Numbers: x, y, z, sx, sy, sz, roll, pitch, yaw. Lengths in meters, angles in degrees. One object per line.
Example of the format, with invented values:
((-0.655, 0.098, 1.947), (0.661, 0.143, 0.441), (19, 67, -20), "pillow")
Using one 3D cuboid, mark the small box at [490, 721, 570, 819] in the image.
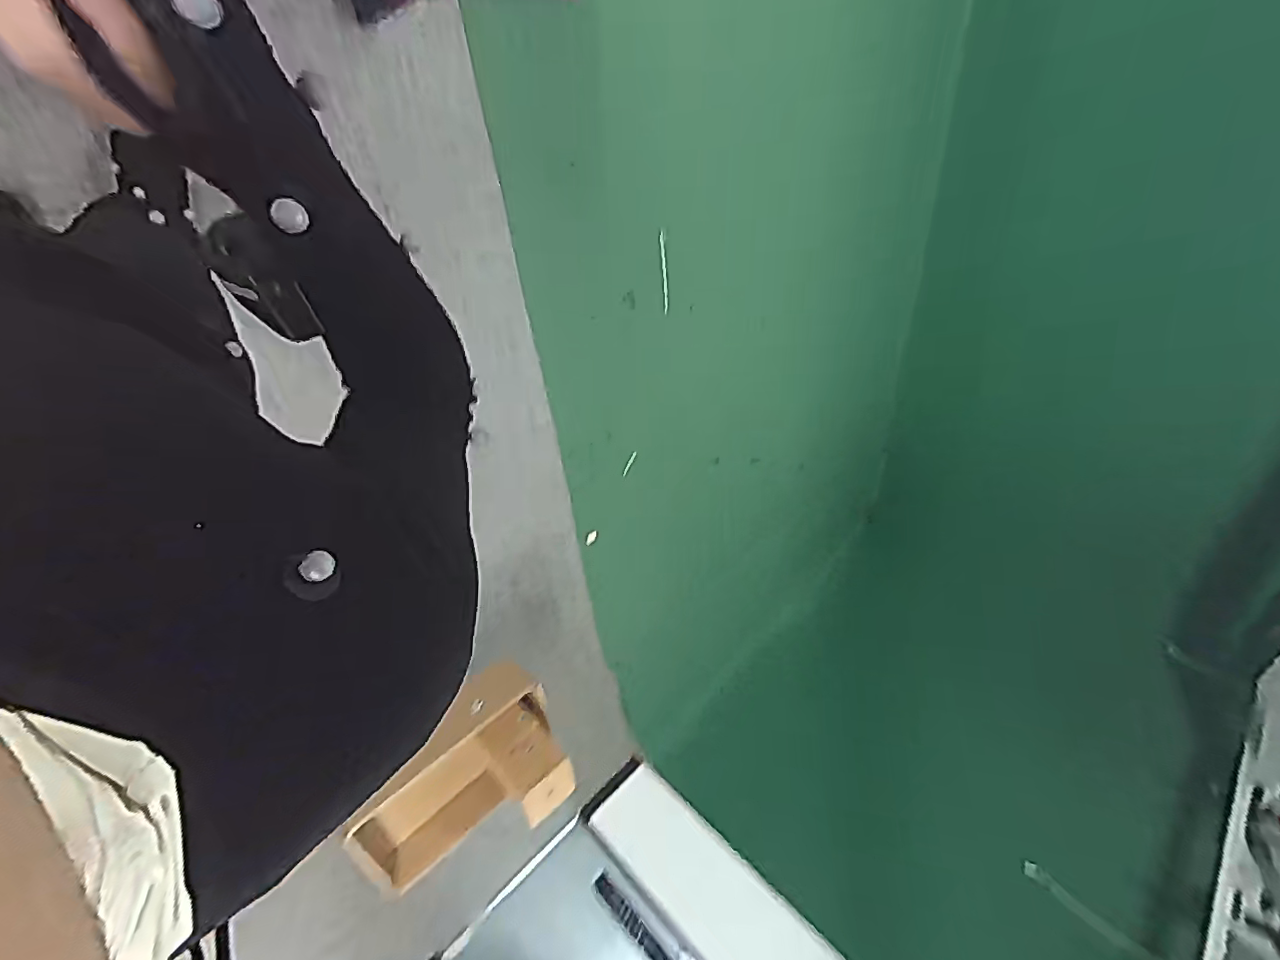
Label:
((-0.339, 0.888, 1.671), (0.168, 0.176, 0.179), (-31, 132, -34), "small box")
